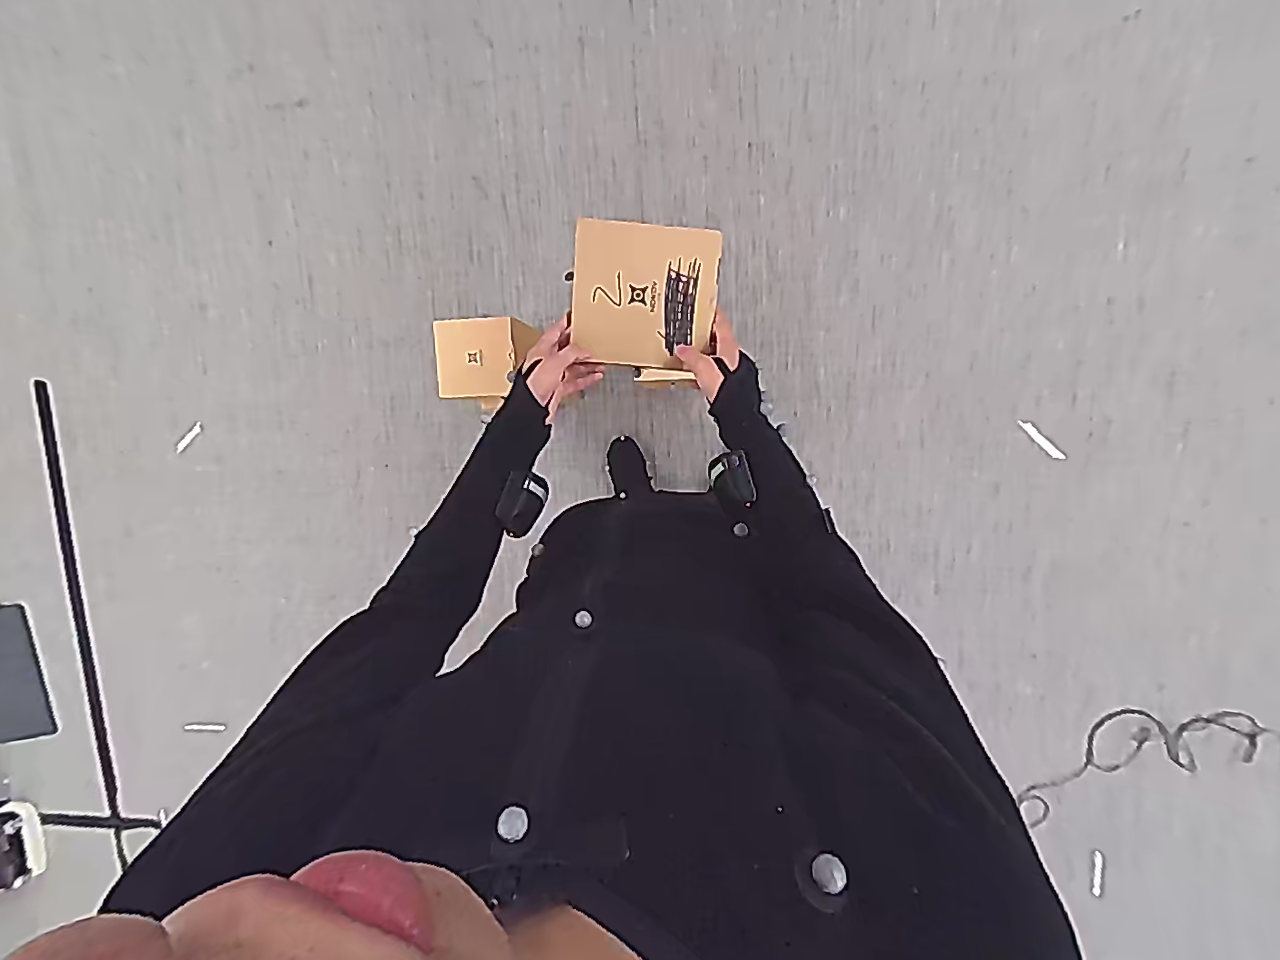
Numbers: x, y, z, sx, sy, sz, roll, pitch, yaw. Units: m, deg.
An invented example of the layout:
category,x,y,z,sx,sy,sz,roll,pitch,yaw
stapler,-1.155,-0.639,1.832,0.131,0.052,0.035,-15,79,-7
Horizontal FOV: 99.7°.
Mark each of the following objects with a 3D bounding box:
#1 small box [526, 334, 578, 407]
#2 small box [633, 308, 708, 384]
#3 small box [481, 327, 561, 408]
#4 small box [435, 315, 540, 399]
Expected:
category,x,y,z,sx,sy,sz,roll,pitch,yaw
small box,-0.283,-0.306,1.545,0.168,0.176,0.179,-8,96,8
small box,0.076,-0.326,1.336,0.179,0.176,0.168,0,97,5
small box,-0.309,-0.281,1.385,0.168,0.176,0.179,-6,97,8
small box,-0.340,-0.272,1.225,0.179,0.176,0.168,-1,97,7
